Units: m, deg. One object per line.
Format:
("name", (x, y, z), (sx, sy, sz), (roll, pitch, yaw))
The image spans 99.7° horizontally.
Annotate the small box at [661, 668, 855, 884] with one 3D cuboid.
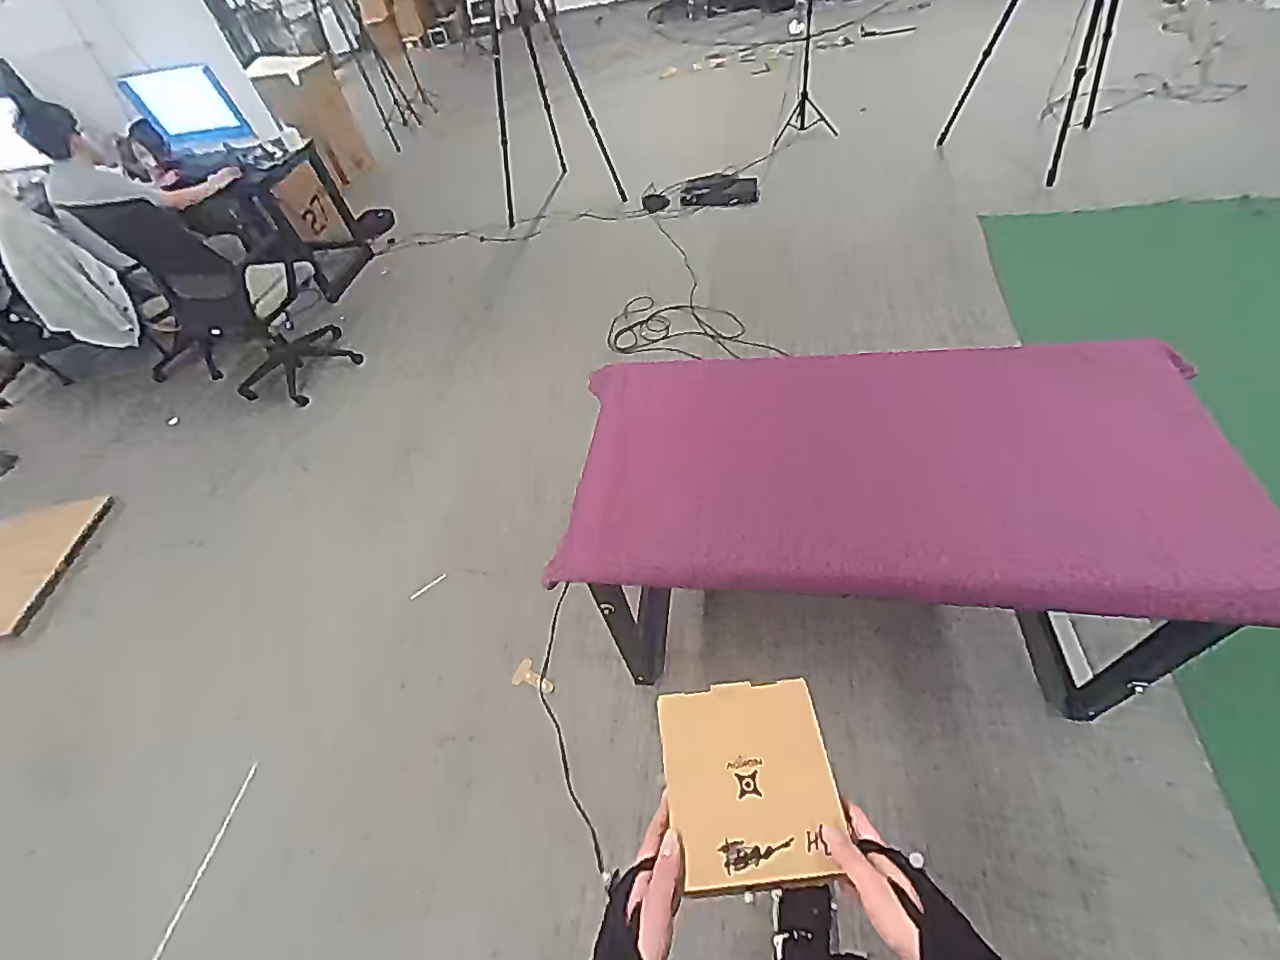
("small box", (0.115, 0.332, 0.603), (0.168, 0.176, 0.179), (-7, 51, 1))
